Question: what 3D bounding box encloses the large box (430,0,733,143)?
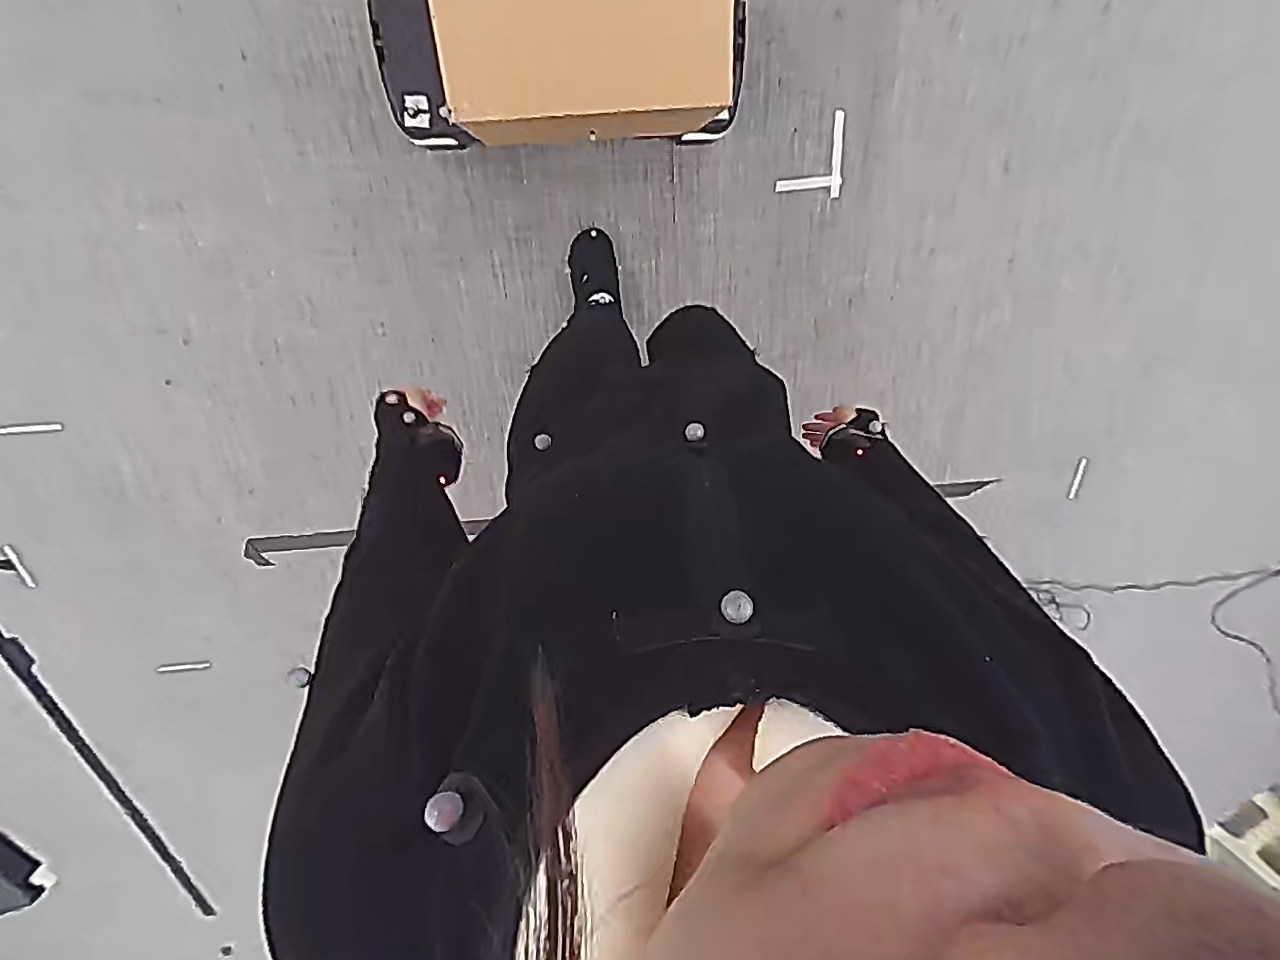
[{"bbox_3d":[-0.086,-0.721,0.826,0.408,0.320,0.320,-5,116,-2],"label":"large box"}]
